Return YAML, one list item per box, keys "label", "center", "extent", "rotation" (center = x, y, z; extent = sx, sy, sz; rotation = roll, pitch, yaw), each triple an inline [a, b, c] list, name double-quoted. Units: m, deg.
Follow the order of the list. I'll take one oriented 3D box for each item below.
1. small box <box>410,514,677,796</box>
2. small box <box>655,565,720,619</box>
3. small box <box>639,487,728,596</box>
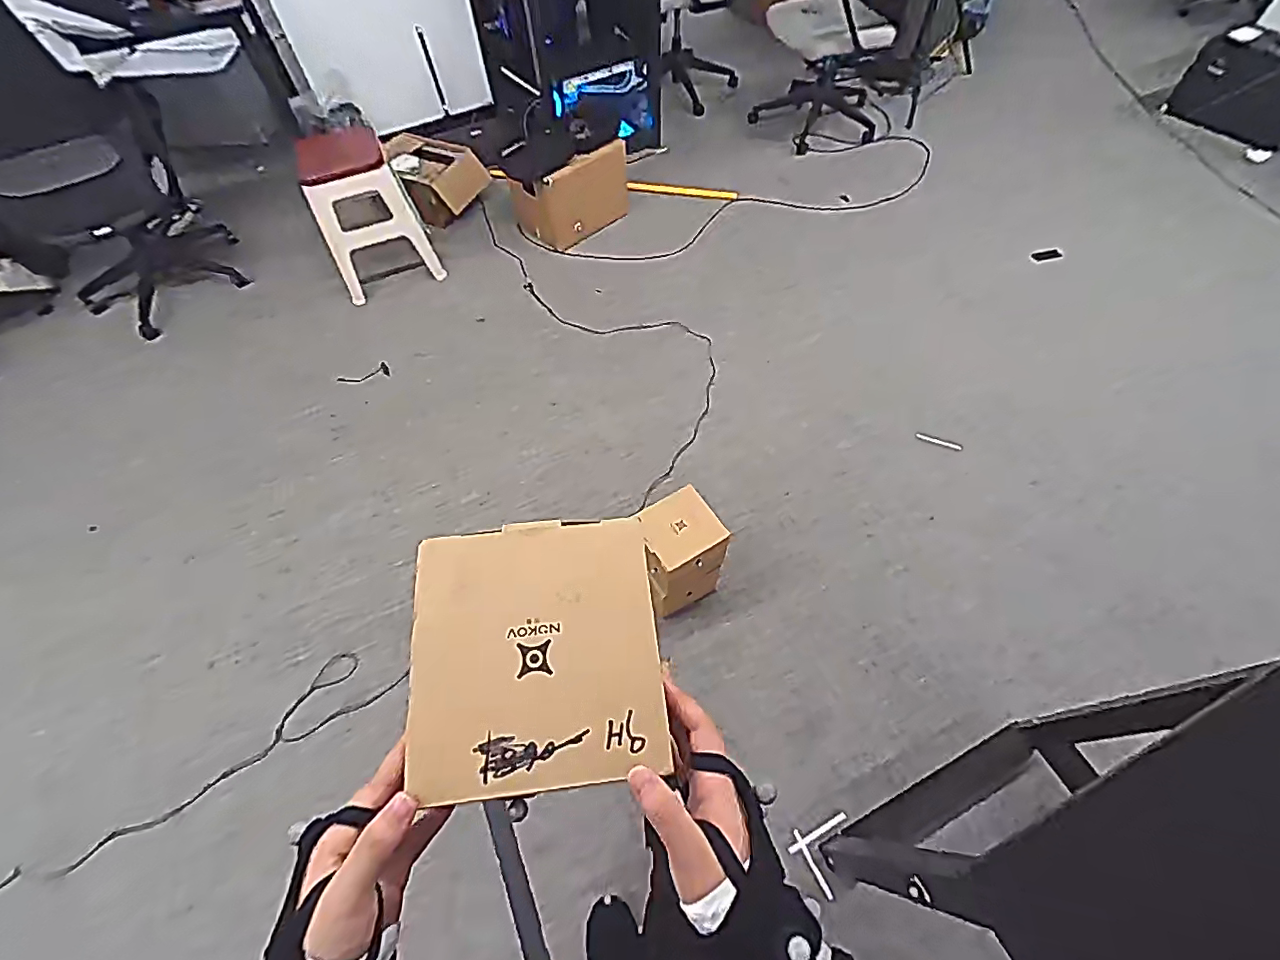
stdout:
- label: "small box"
  center: [-0.069, 0.147, 0.439]
  extent: [0.168, 0.176, 0.179]
  rotation: [-6, 62, -4]
- label: "small box"
  center: [0.093, 0.245, 1.454]
  extent: [0.179, 0.176, 0.168]
  rotation: [-27, 61, -13]
- label: "small box"
  center: [0.092, 0.156, 1.318]
  extent: [0.179, 0.176, 0.168]
  rotation: [-29, 62, -16]
